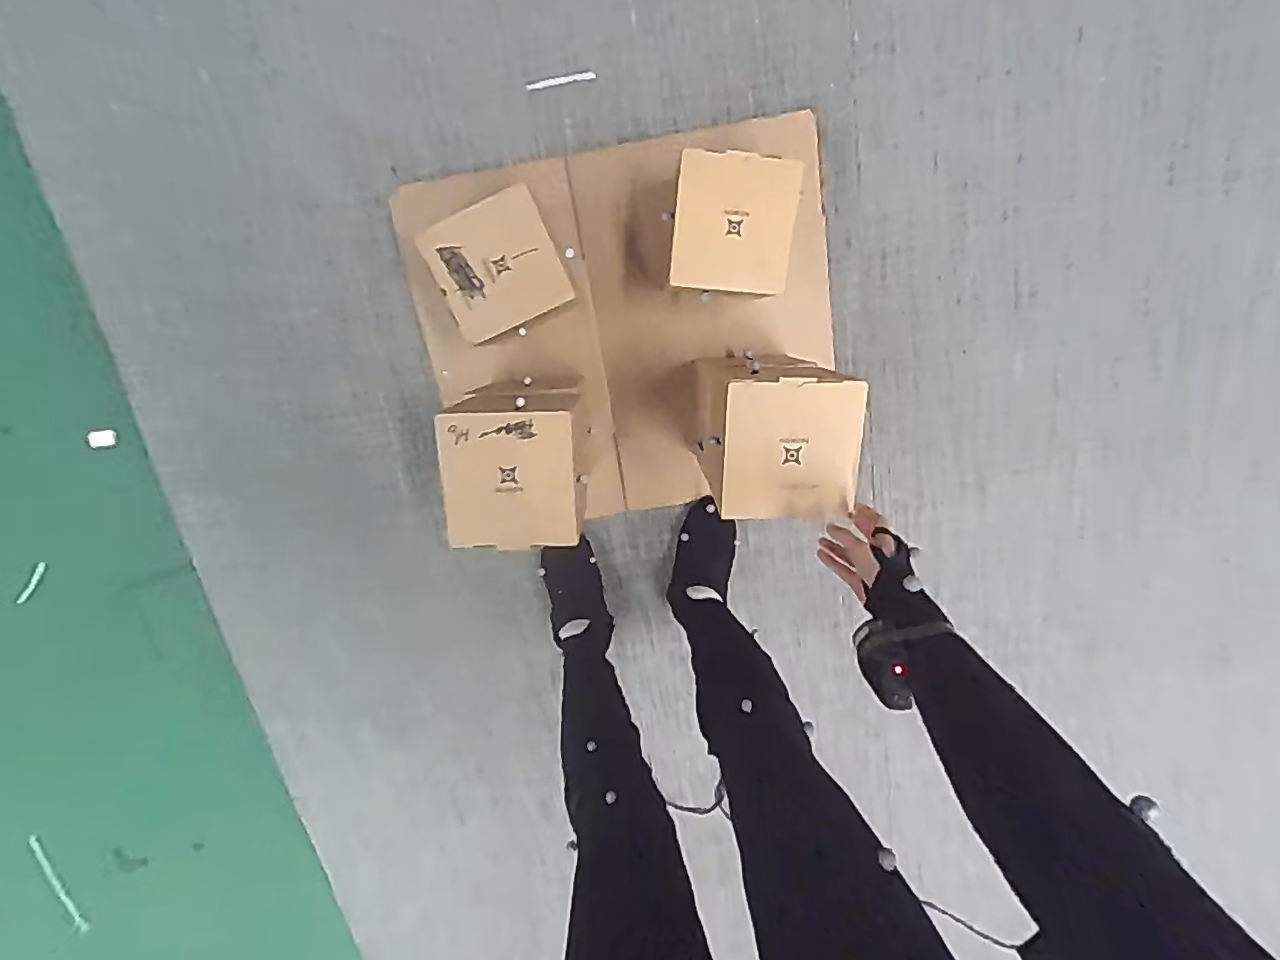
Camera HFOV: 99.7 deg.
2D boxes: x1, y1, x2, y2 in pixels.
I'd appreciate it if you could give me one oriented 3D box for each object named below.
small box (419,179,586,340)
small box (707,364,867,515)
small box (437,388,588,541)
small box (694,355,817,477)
[{"bbox_3d":[-0.198,-0.324,0.833,0.179,0.176,0.168,-23,104,5],"label":"small box"},{"bbox_3d":[0.184,-0.063,0.732,0.168,0.176,0.179,1,107,0],"label":"small box"},{"bbox_3d":[-0.162,-0.028,0.746,0.168,0.176,0.179,0,106,-1],"label":"small box"},{"bbox_3d":[0.180,-0.111,0.888,0.168,0.176,0.179,-2,105,1],"label":"small box"}]
